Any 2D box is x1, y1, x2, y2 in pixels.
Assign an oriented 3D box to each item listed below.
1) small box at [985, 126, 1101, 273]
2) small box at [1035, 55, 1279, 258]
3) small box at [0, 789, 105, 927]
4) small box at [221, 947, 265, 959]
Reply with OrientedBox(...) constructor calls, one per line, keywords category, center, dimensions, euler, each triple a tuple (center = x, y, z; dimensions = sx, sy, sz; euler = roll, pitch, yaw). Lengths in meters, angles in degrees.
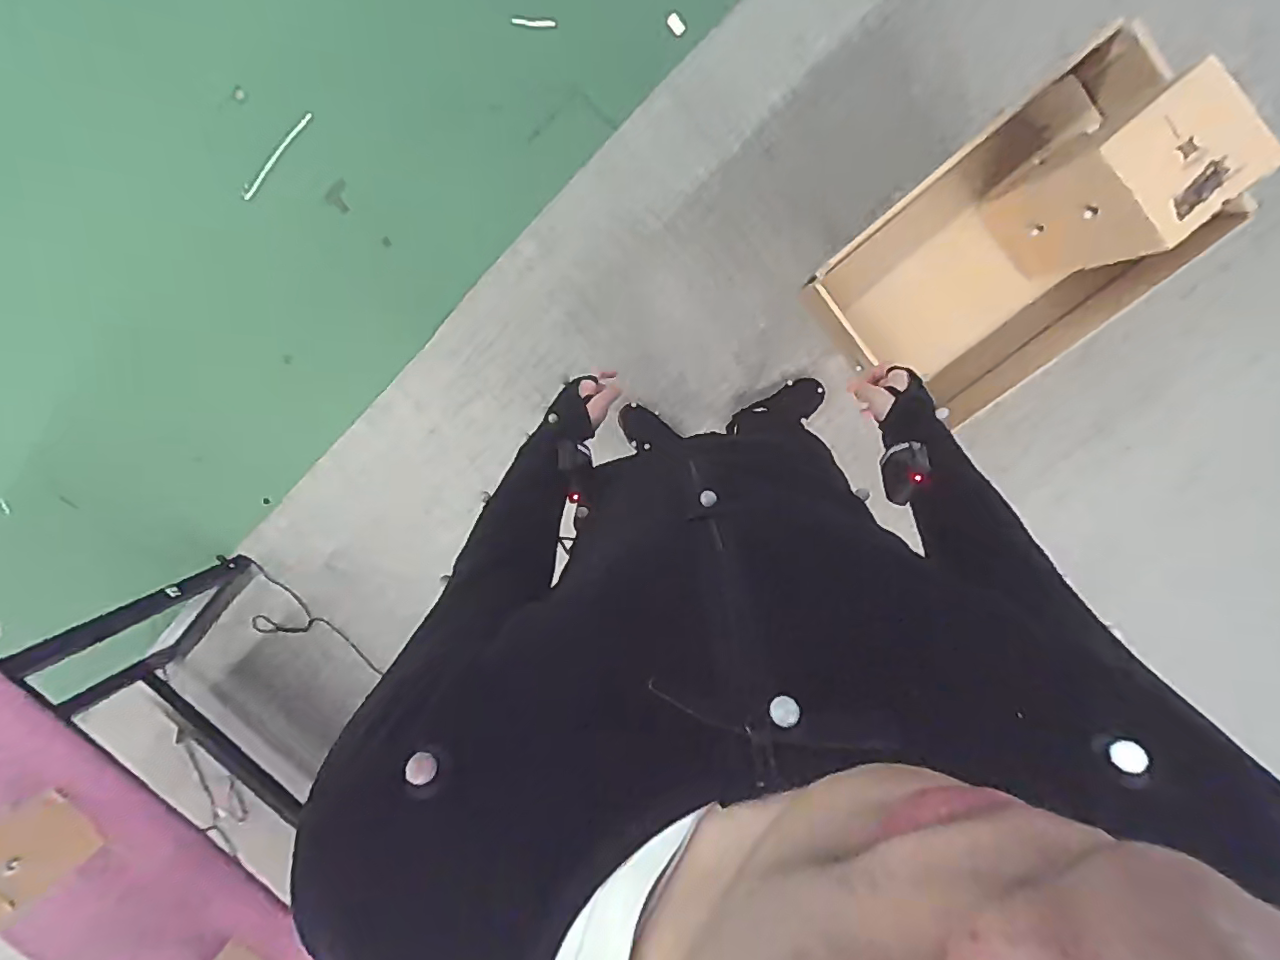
OrientedBox(category="small box", center=(0.766, -0.489, 0.955), dimensions=(0.168, 0.176, 0.179), euler=(-39, 96, 12))
OrientedBox(category="small box", center=(0.746, -0.452, 0.796), dimensions=(0.168, 0.176, 0.179), euler=(-41, 95, 13))
OrientedBox(category="small box", center=(-1.302, 0.799, 1.132), dimensions=(0.168, 0.176, 0.179), euler=(-32, 98, 12))
OrientedBox(category="small box", center=(-0.911, 1.177, 1.178), dimensions=(0.179, 0.176, 0.168), euler=(41, 104, -5))
